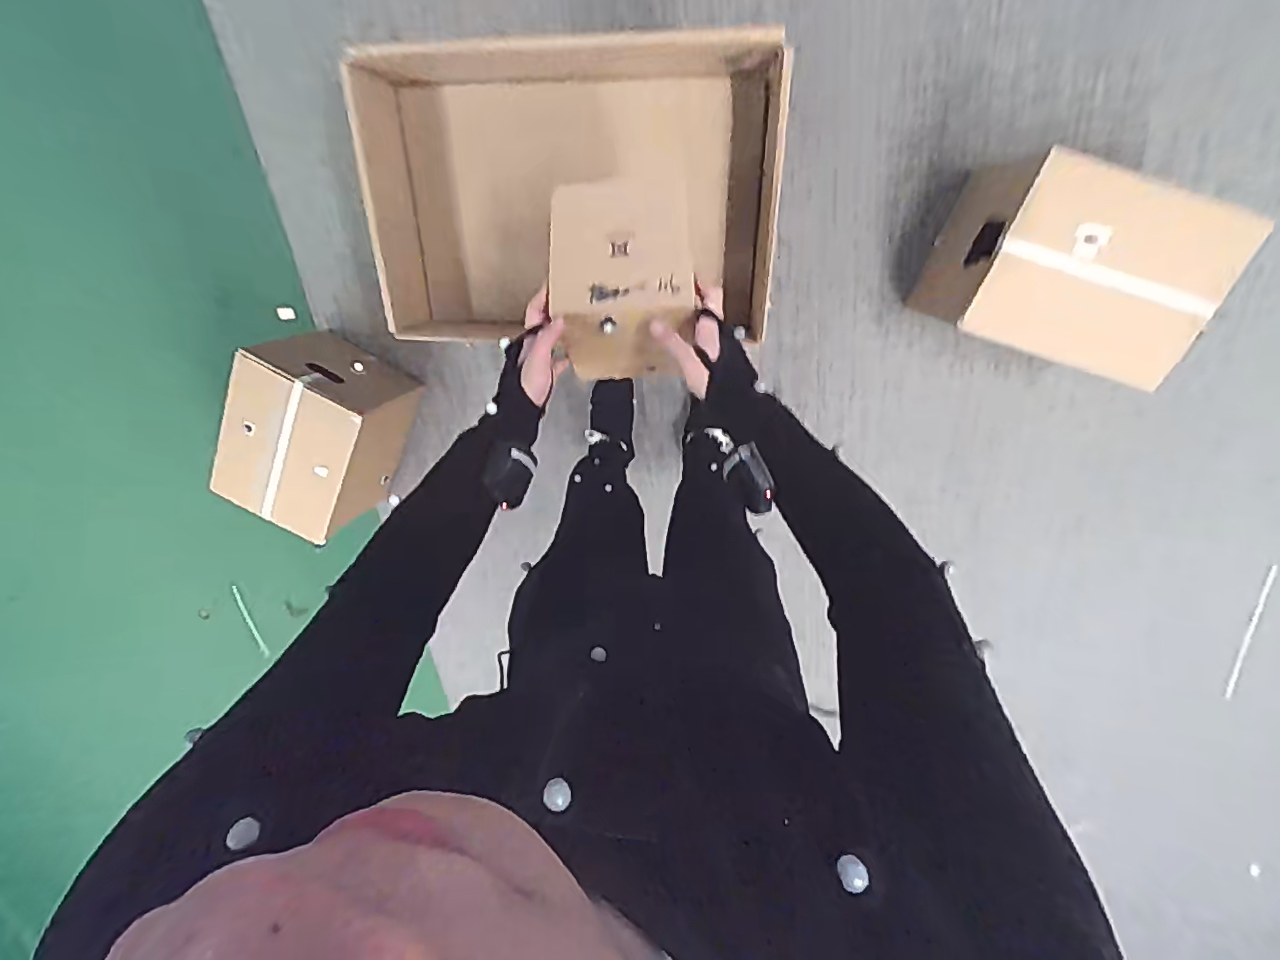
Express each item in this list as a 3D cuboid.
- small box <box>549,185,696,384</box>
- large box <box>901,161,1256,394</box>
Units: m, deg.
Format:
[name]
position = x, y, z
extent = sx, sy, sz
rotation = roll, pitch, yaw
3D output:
[small box]
position = -0.014, -0.240, 0.694
extent = 0.168, 0.176, 0.179
rotation = -2, 75, 5
[large box]
position = 0.840, -0.414, 1.115
extent = 0.408, 0.320, 0.320
rotation = 18, 114, -1
